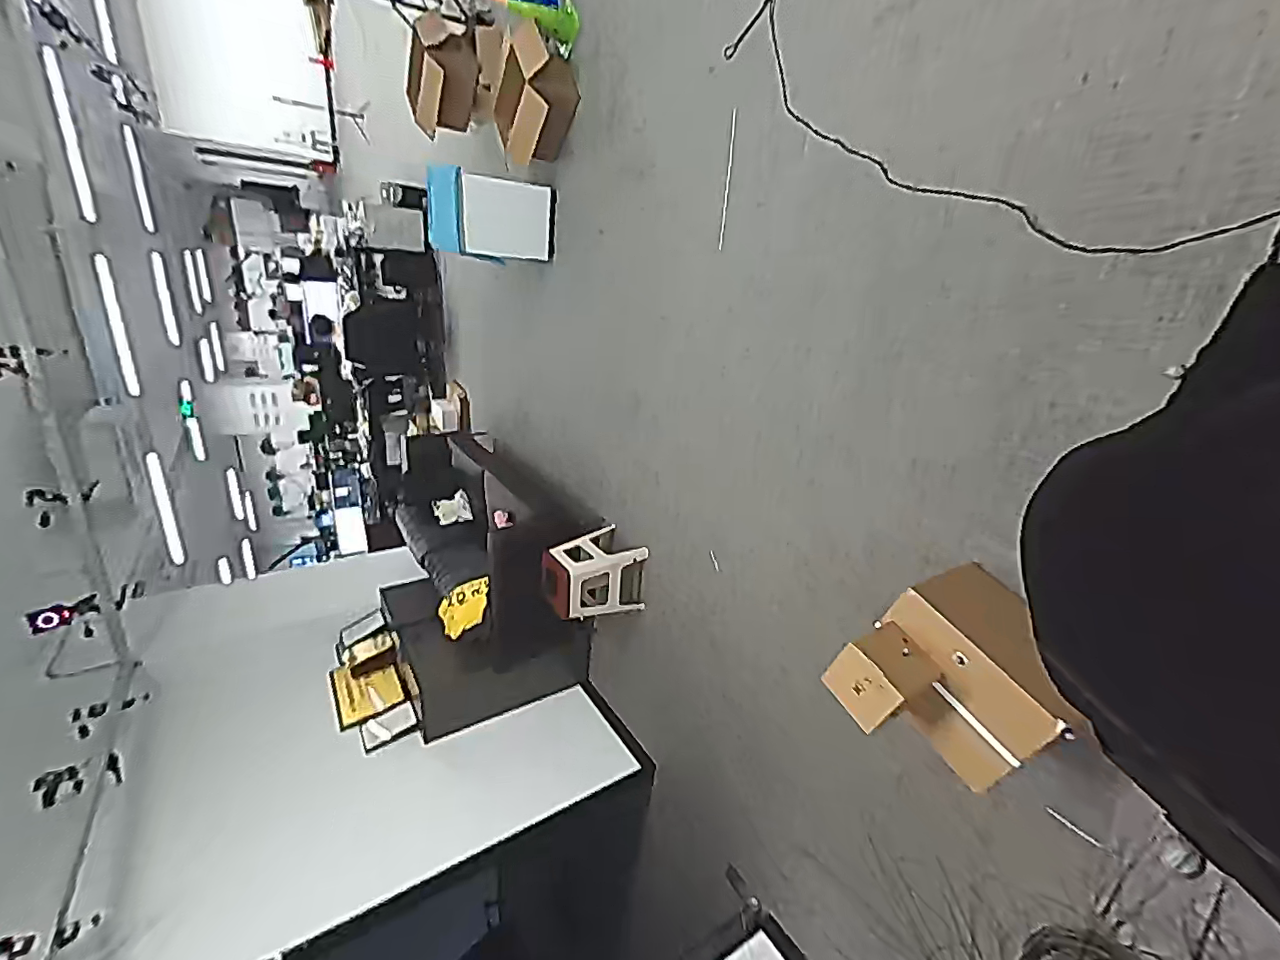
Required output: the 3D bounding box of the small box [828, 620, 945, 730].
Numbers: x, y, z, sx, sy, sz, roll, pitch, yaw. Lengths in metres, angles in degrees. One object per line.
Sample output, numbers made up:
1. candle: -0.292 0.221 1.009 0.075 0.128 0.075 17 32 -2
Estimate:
1. small box: 0.612 0.480 1.343 0.168 0.176 0.179 52 139 37
